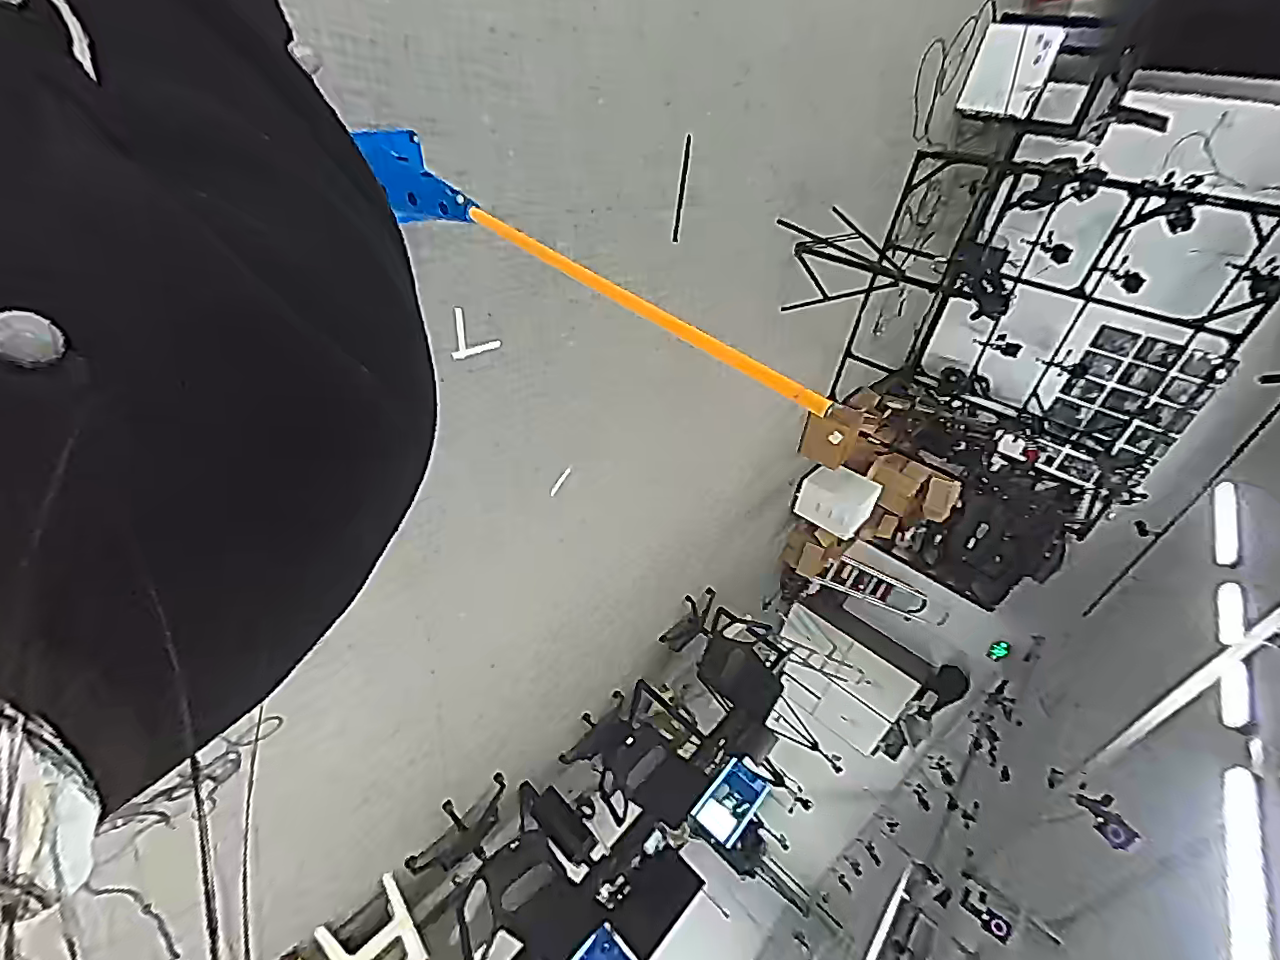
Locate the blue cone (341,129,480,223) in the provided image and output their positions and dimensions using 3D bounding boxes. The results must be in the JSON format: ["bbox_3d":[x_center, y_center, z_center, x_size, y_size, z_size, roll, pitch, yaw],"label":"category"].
[{"bbox_3d":[-0.480,-0.650,1.210,0.193,0.380,0.192,-32,141,-38],"label":"blue cone"}]
